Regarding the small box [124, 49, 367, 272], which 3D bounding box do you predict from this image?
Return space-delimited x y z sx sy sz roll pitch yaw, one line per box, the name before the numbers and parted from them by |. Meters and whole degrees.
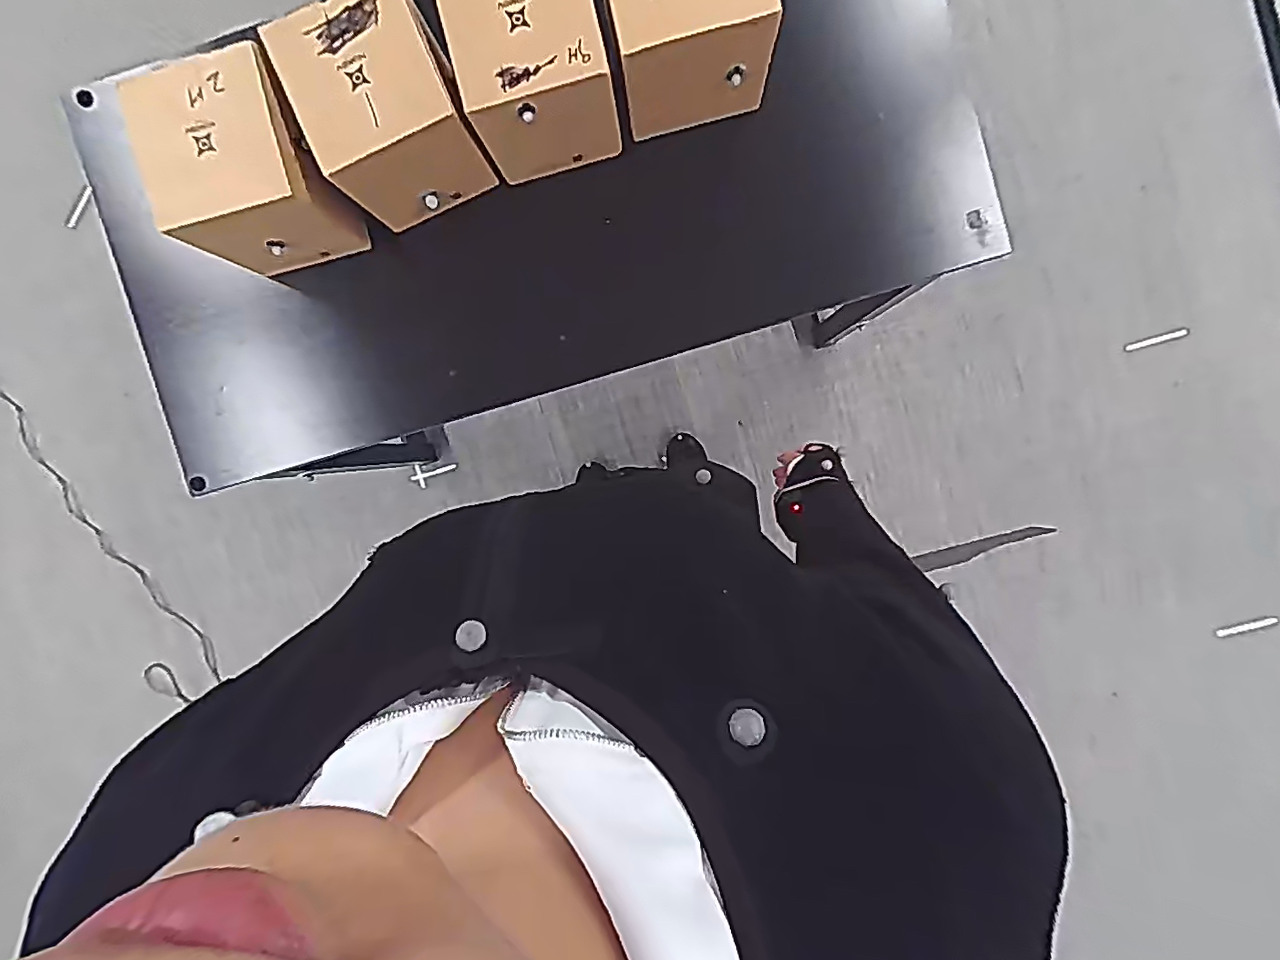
small box | -0.482 -0.384 0.690 0.168 0.176 0.179 -13 92 3
